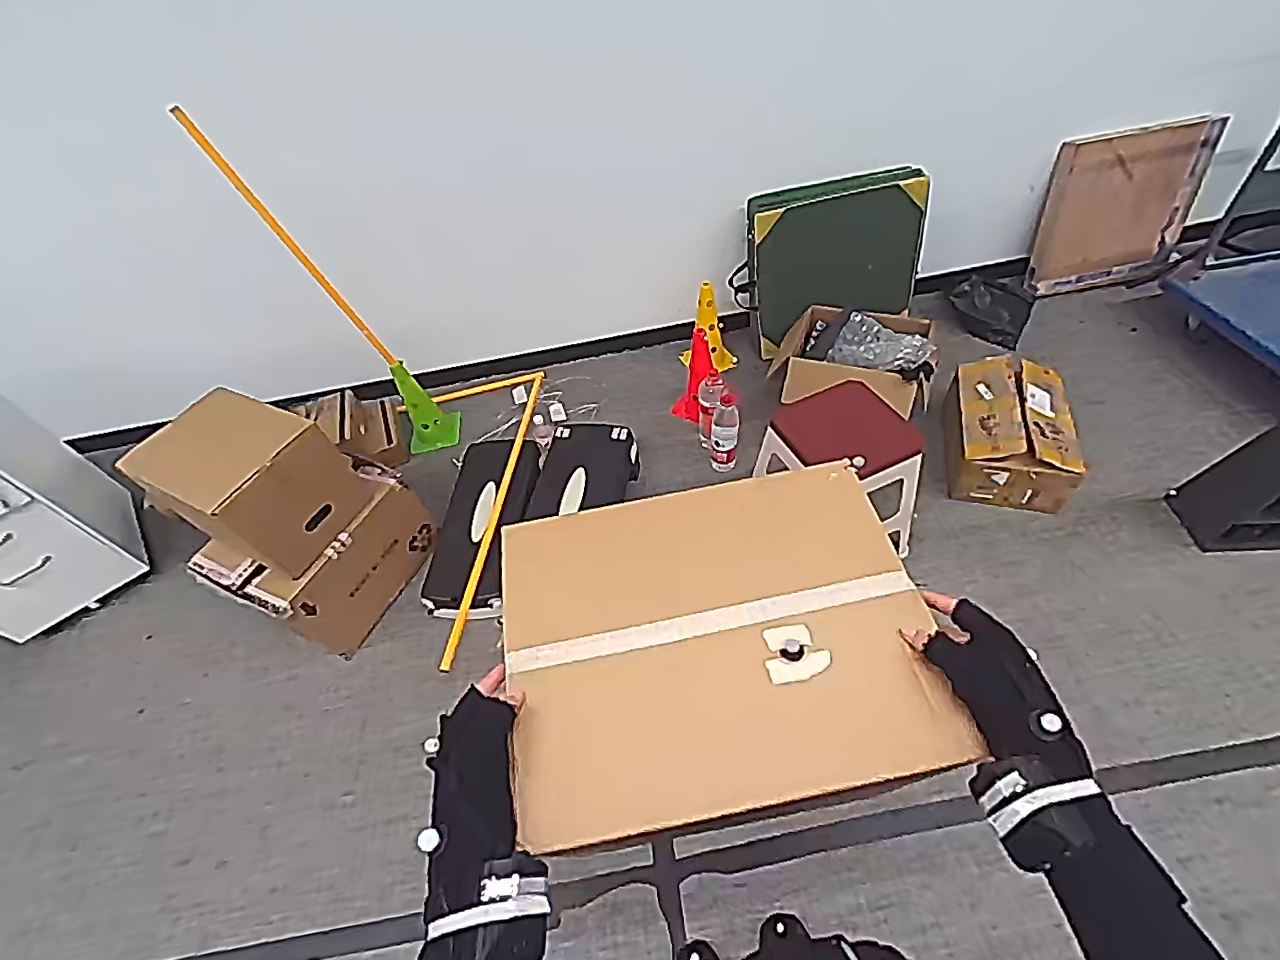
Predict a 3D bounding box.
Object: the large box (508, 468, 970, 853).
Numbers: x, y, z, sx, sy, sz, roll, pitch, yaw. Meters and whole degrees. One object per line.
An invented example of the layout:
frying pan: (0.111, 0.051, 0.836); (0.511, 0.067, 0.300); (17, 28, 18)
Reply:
large box: (0.079, 0.232, 0.665); (0.408, 0.320, 0.320); (-11, 55, -2)
